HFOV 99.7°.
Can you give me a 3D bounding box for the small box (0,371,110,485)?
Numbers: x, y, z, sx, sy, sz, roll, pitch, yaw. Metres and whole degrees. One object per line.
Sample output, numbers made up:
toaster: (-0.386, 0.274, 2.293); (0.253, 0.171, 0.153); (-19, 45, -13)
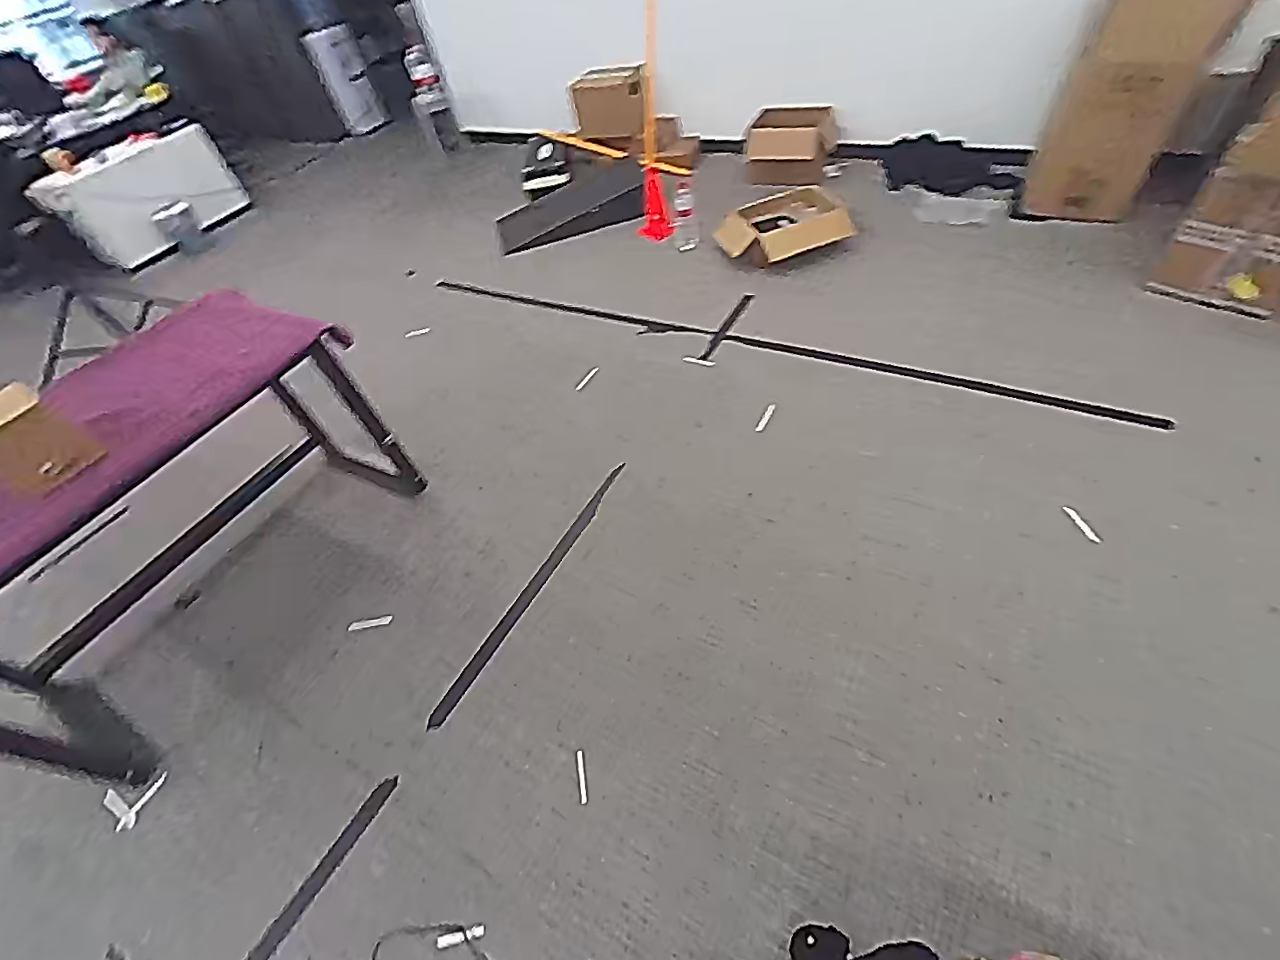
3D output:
small box: (-1.384, -0.115, 1.229); (0.179, 0.176, 0.168); (22, 59, 26)
